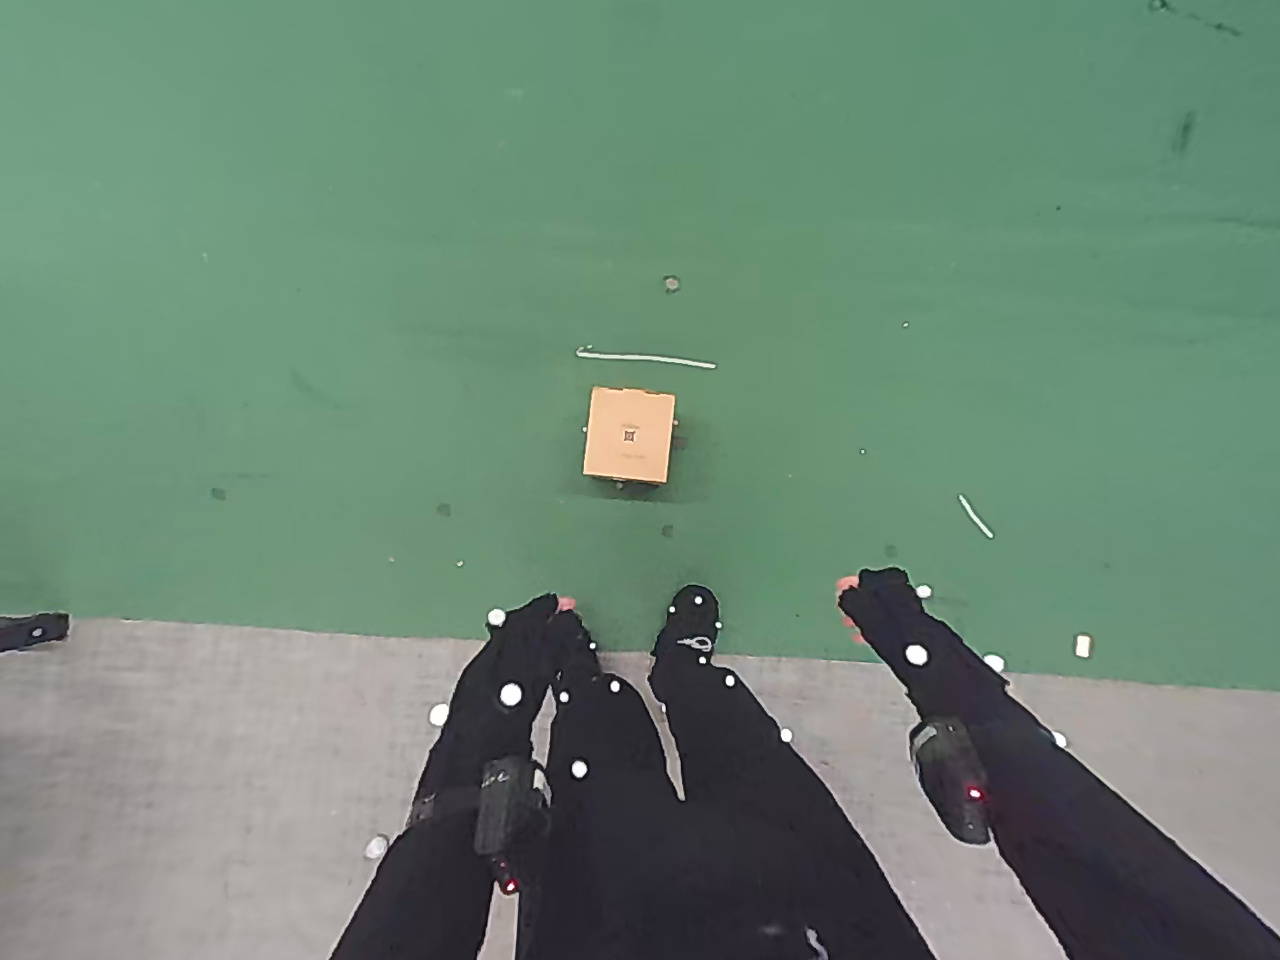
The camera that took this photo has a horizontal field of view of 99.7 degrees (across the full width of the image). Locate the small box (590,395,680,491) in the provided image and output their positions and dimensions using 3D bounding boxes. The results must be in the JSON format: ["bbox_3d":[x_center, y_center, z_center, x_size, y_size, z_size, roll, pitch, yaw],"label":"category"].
[{"bbox_3d":[-0.011,-0.072,1.143,0.168,0.176,0.179,5,88,1],"label":"small box"}]
